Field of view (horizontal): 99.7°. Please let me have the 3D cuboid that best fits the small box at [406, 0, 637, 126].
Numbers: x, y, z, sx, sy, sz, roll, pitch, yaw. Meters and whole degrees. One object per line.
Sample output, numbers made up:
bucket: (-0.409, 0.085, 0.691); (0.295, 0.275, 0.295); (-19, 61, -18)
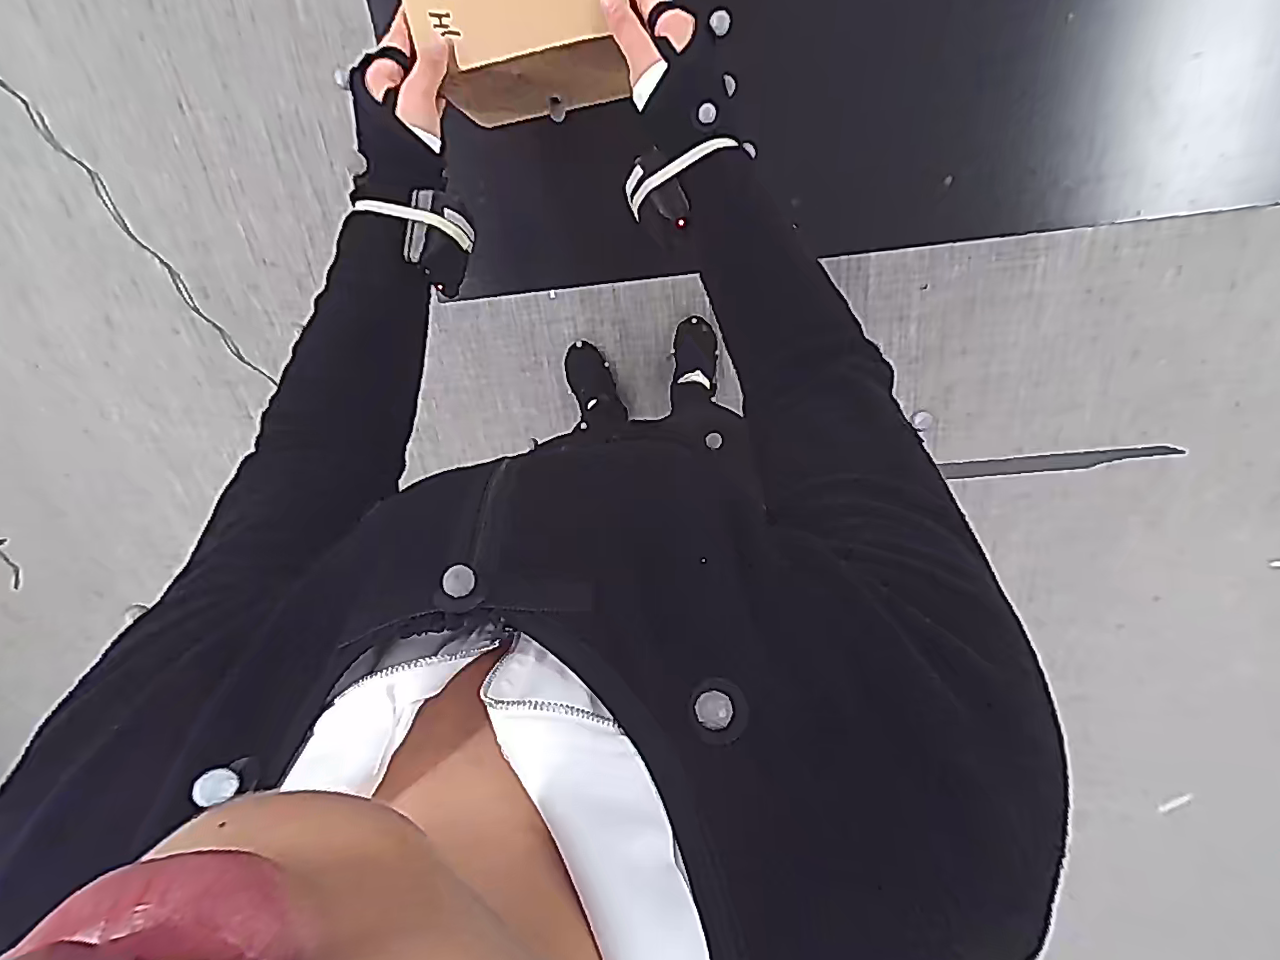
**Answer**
small box: (-0.101, -0.439, 0.477); (0.179, 0.176, 0.168); (-9, 110, 4)
